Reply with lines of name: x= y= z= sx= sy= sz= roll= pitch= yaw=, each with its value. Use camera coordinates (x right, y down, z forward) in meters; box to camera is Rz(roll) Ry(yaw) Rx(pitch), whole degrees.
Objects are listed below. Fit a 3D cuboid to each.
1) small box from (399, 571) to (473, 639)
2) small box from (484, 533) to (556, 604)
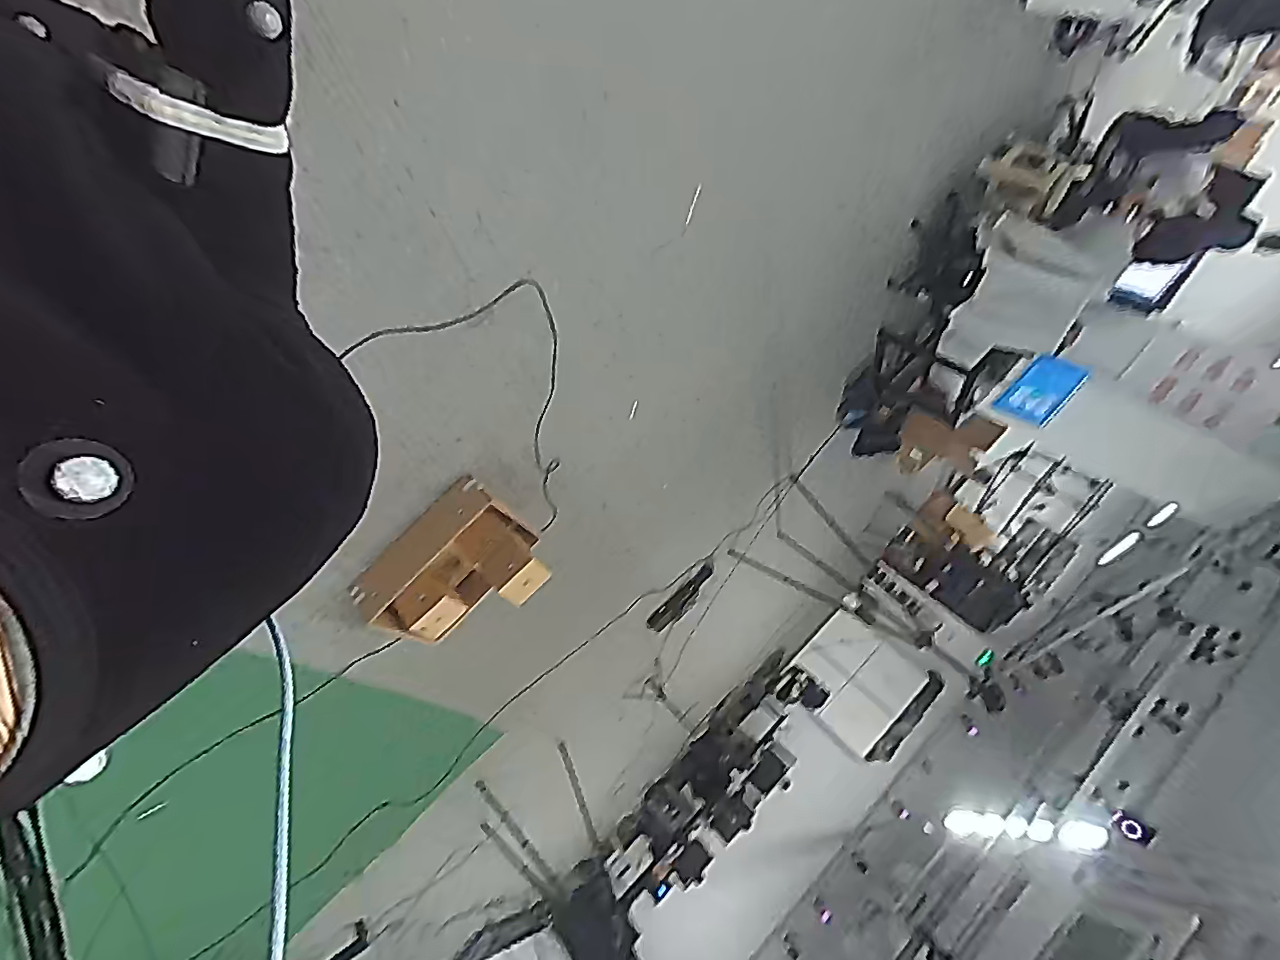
small box: x=-0.798 y=0.483 z=2.107 sx=0.179 sy=0.176 sz=0.168 roll=-45 pitch=147 yaw=-10
small box: x=-0.460 y=0.333 z=2.063 sx=0.179 sy=0.176 sz=0.168 roll=-44 pitch=146 yaw=-8
